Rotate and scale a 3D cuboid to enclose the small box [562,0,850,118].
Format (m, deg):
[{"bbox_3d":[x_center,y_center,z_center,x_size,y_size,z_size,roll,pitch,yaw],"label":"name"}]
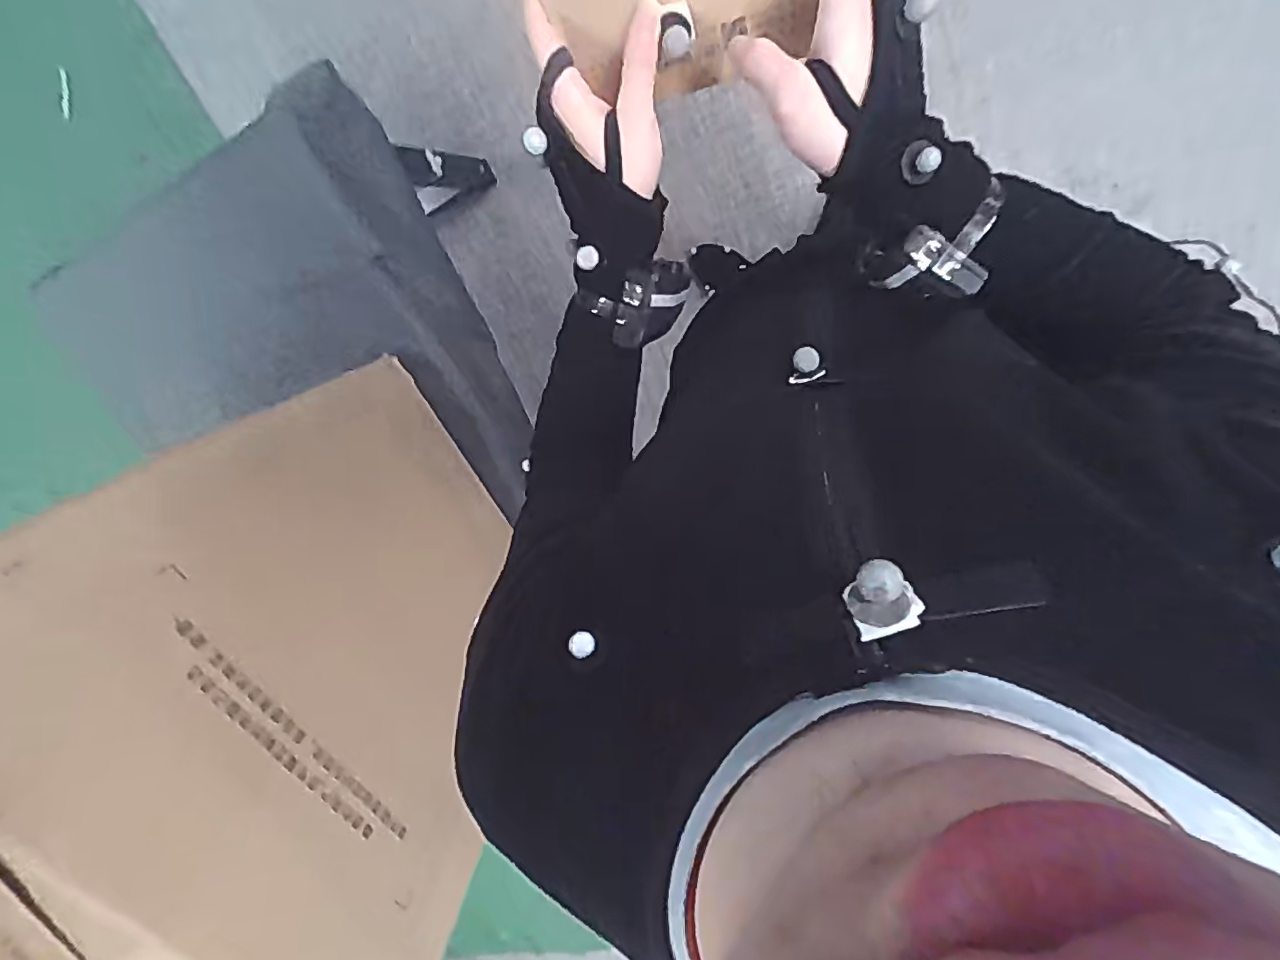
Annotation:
[{"bbox_3d":[0.029,-0.363,0.318,0.168,0.179,0.176,-6,153,18],"label":"small box"}]
